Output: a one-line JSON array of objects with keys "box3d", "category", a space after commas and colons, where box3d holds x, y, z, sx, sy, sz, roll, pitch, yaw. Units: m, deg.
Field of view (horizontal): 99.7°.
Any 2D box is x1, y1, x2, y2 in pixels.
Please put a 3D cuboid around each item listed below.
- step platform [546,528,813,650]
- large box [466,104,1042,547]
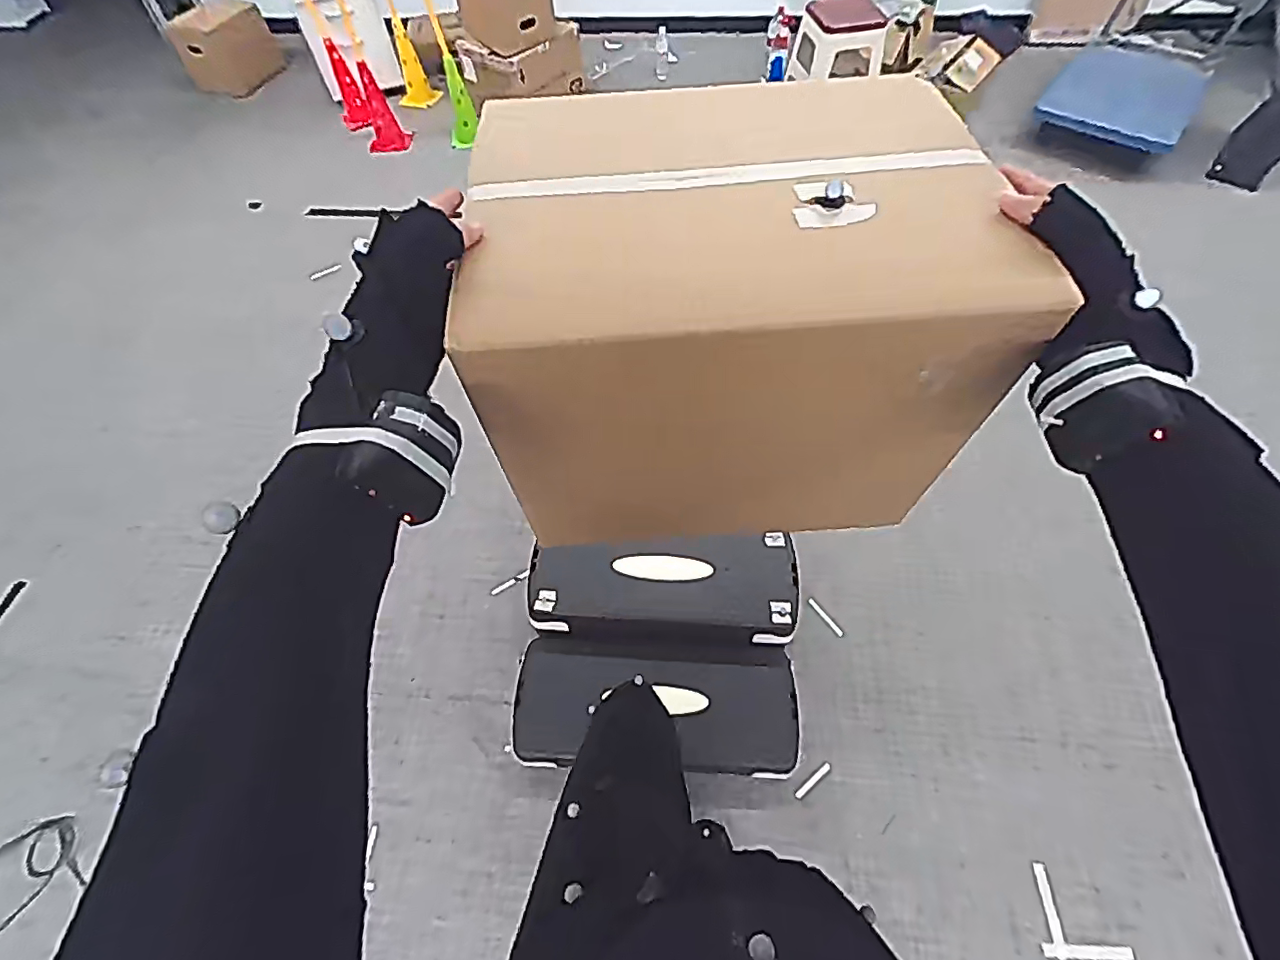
[{"box3d": [0.097, 0.268, 1.426, 0.684, 0.204, 0.286, 2, 59, 3], "category": "step platform"}, {"box3d": [0.070, -0.142, 0.567, 0.408, 0.320, 0.320, -4, 59, -1], "category": "large box"}]
